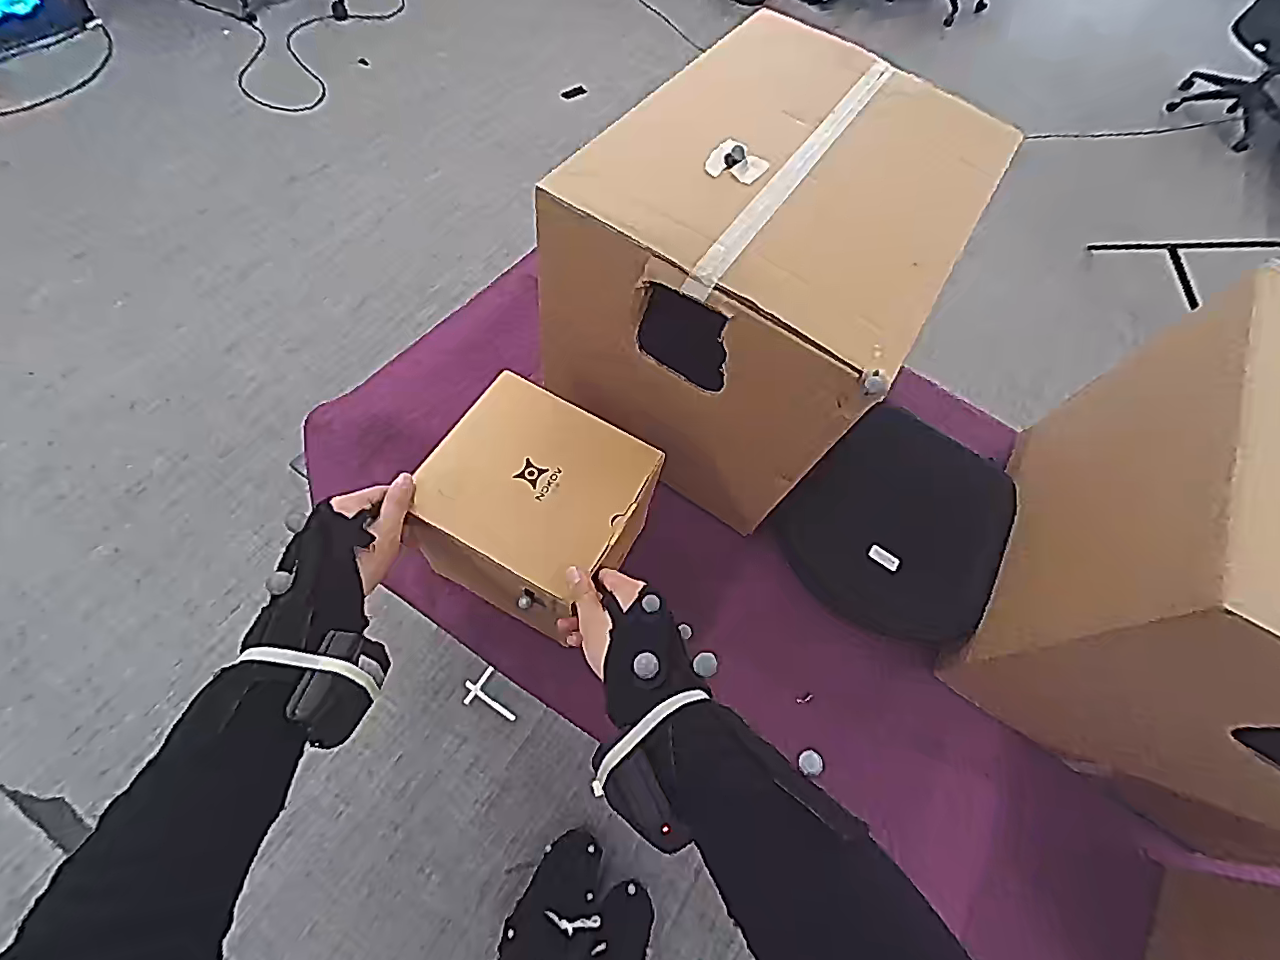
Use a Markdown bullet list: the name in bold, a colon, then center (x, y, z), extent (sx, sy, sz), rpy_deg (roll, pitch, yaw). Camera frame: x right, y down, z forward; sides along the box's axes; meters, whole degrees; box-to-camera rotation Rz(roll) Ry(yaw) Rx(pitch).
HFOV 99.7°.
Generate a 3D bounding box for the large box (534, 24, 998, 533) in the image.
- **large box**: center (0.124, -0.216, 0.631), extent (0.320, 0.320, 0.408), rpy_deg (32, 66, 8)
